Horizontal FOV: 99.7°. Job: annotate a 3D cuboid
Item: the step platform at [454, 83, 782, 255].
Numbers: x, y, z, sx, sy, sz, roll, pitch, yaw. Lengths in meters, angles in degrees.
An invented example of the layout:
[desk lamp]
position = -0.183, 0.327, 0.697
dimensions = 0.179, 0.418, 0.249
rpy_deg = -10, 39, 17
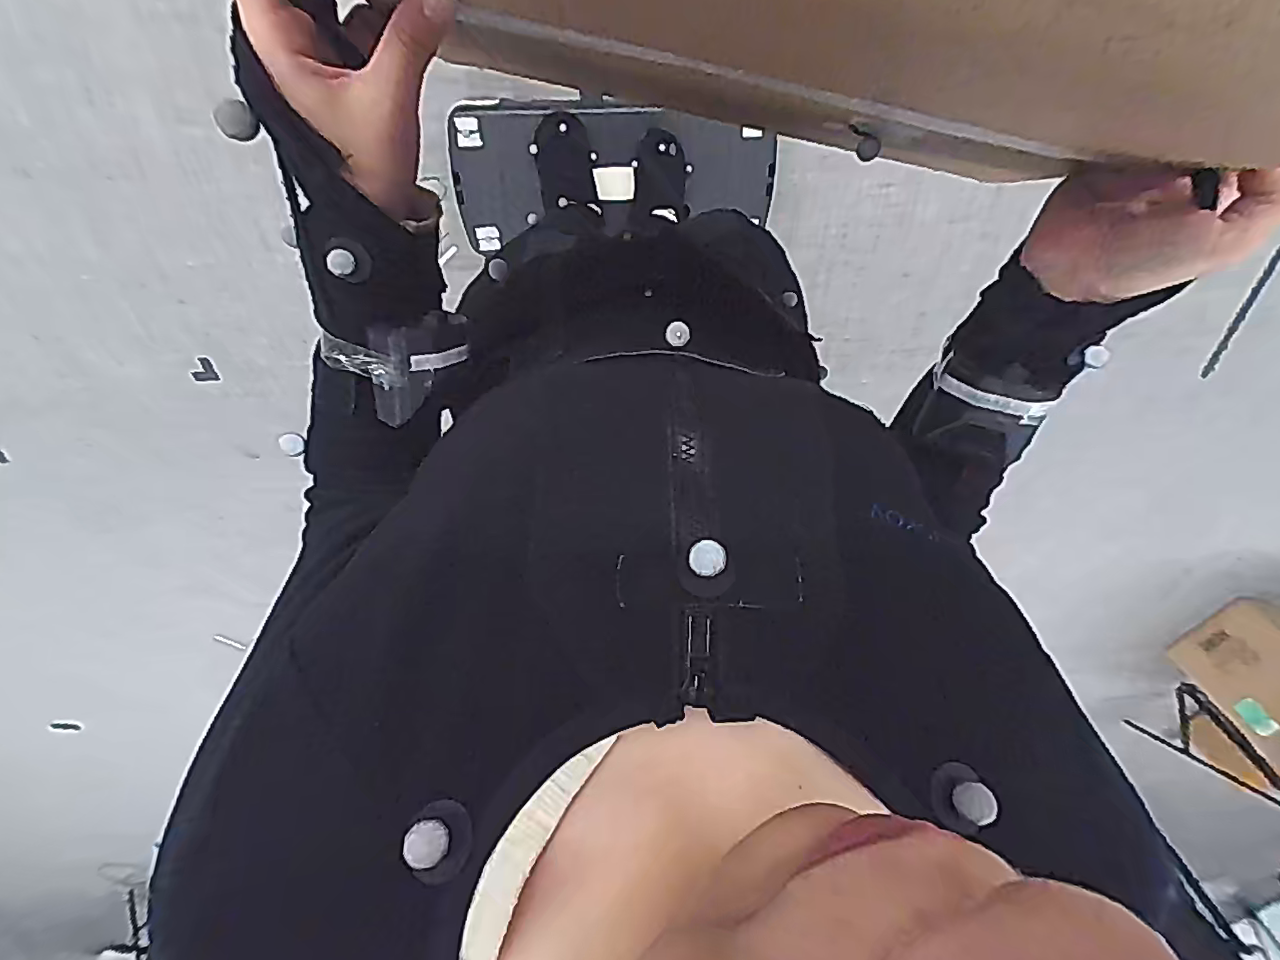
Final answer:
[step platform]
position = -0.047, -0.671, 1.182
dimensions = 0.684, 0.204, 0.286
rpy_deg = 0, 127, -5

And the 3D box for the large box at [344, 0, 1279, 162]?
[large box]
position = 0.079, -0.323, 0.174
dimensions = 0.408, 0.320, 0.320
rpy_deg = 7, 118, -5
